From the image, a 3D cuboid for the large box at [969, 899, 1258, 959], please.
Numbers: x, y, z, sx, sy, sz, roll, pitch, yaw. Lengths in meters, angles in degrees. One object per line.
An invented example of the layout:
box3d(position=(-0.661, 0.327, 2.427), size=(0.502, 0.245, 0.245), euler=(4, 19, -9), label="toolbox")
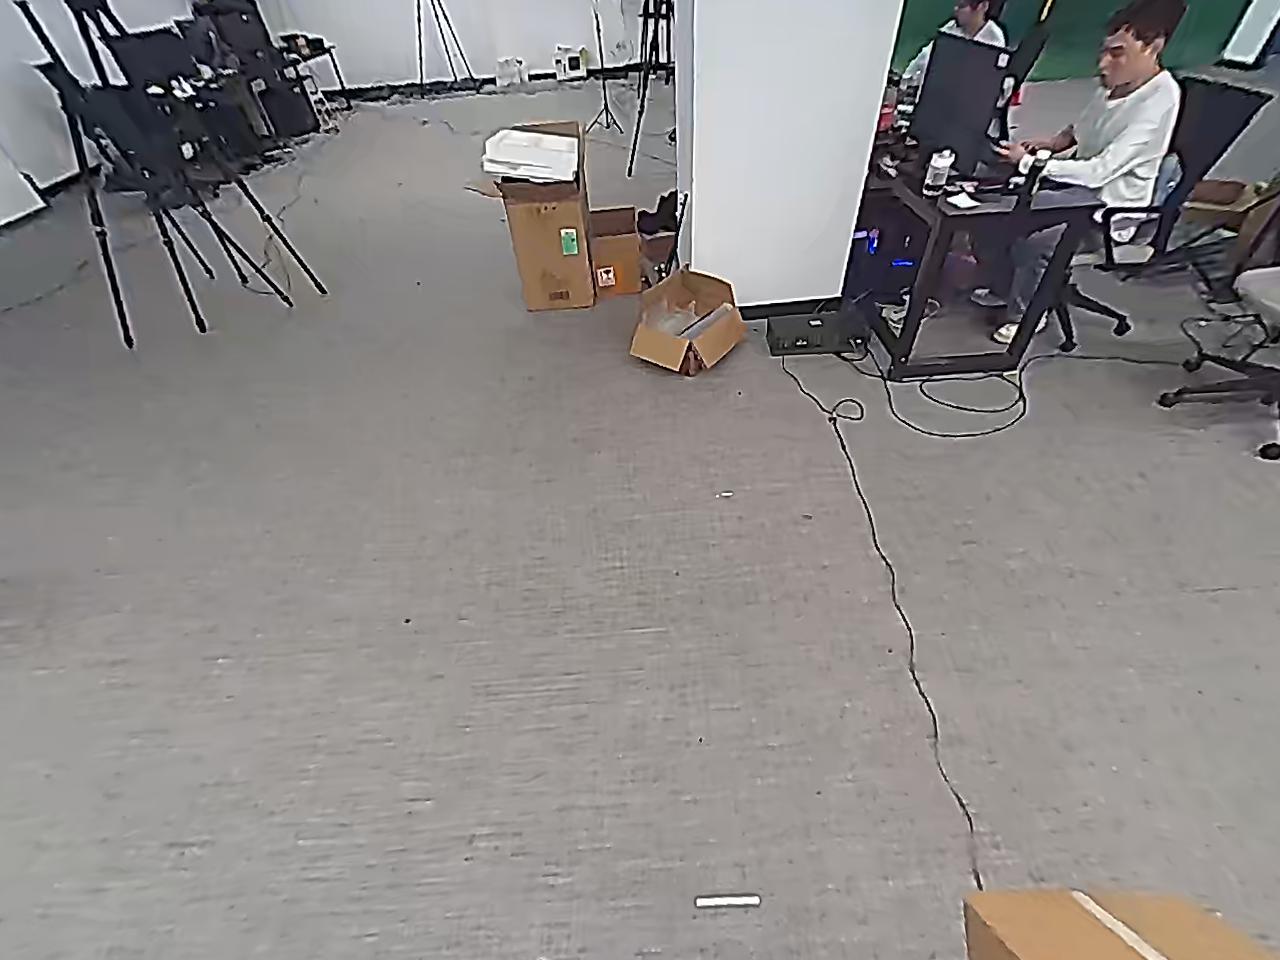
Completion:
box3d(position=(0.606, 0.723, 0.550), size=(0.320, 0.408, 0.320), euler=(0, 82, 3), label="large box")
